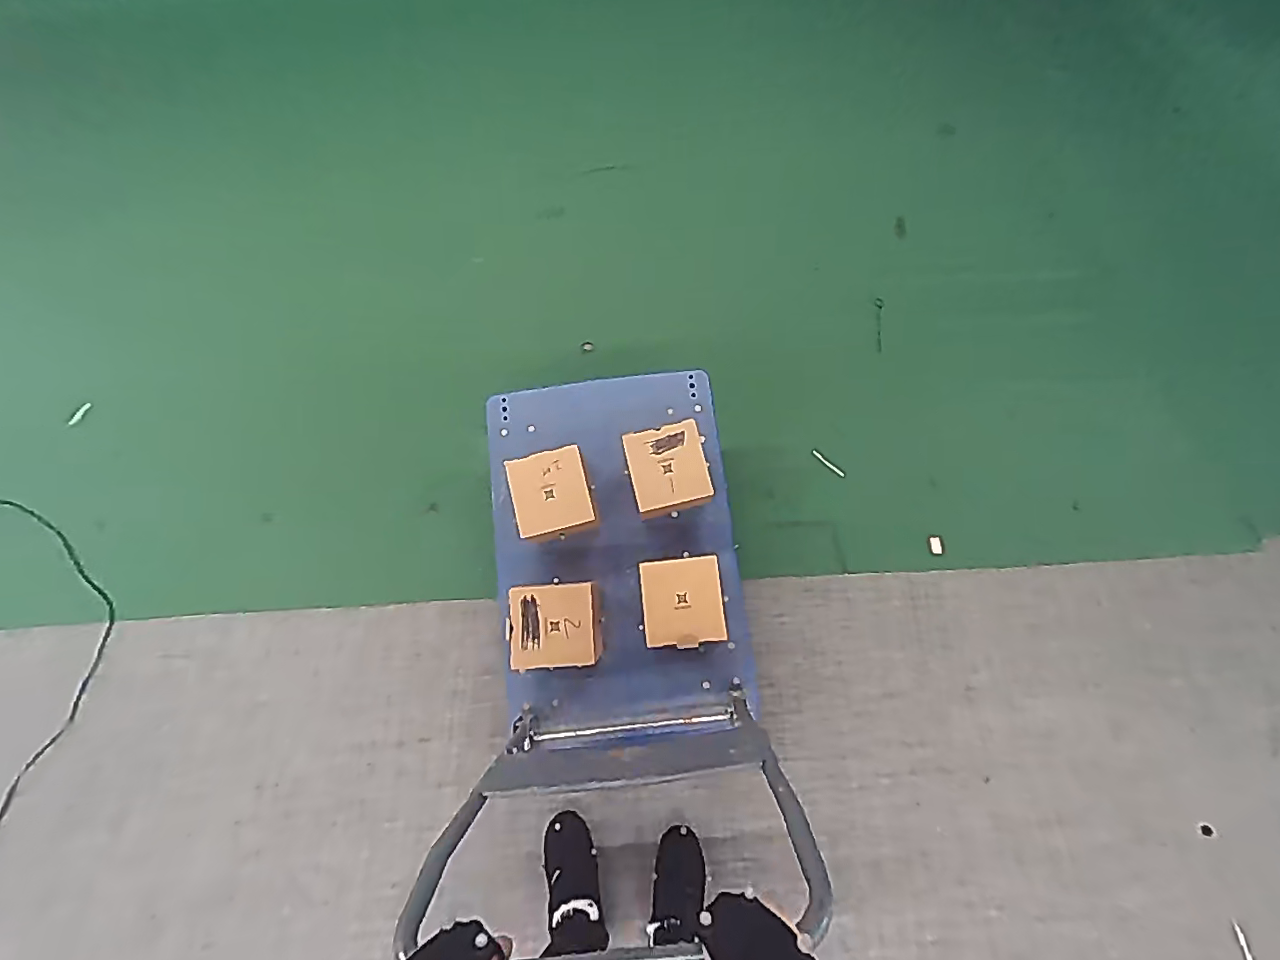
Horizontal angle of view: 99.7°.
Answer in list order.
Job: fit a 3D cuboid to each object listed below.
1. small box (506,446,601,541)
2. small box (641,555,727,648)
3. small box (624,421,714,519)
[{"bbox_3d":[-0.191,0.039,1.243,0.168,0.176,0.179,-14,80,-1],"label":"small box"},{"bbox_3d":[0.091,0.265,1.196,0.168,0.176,0.179,-6,81,1],"label":"small box"},{"bbox_3d":[0.063,-0.017,1.243,0.168,0.176,0.179,-13,81,0],"label":"small box"}]
